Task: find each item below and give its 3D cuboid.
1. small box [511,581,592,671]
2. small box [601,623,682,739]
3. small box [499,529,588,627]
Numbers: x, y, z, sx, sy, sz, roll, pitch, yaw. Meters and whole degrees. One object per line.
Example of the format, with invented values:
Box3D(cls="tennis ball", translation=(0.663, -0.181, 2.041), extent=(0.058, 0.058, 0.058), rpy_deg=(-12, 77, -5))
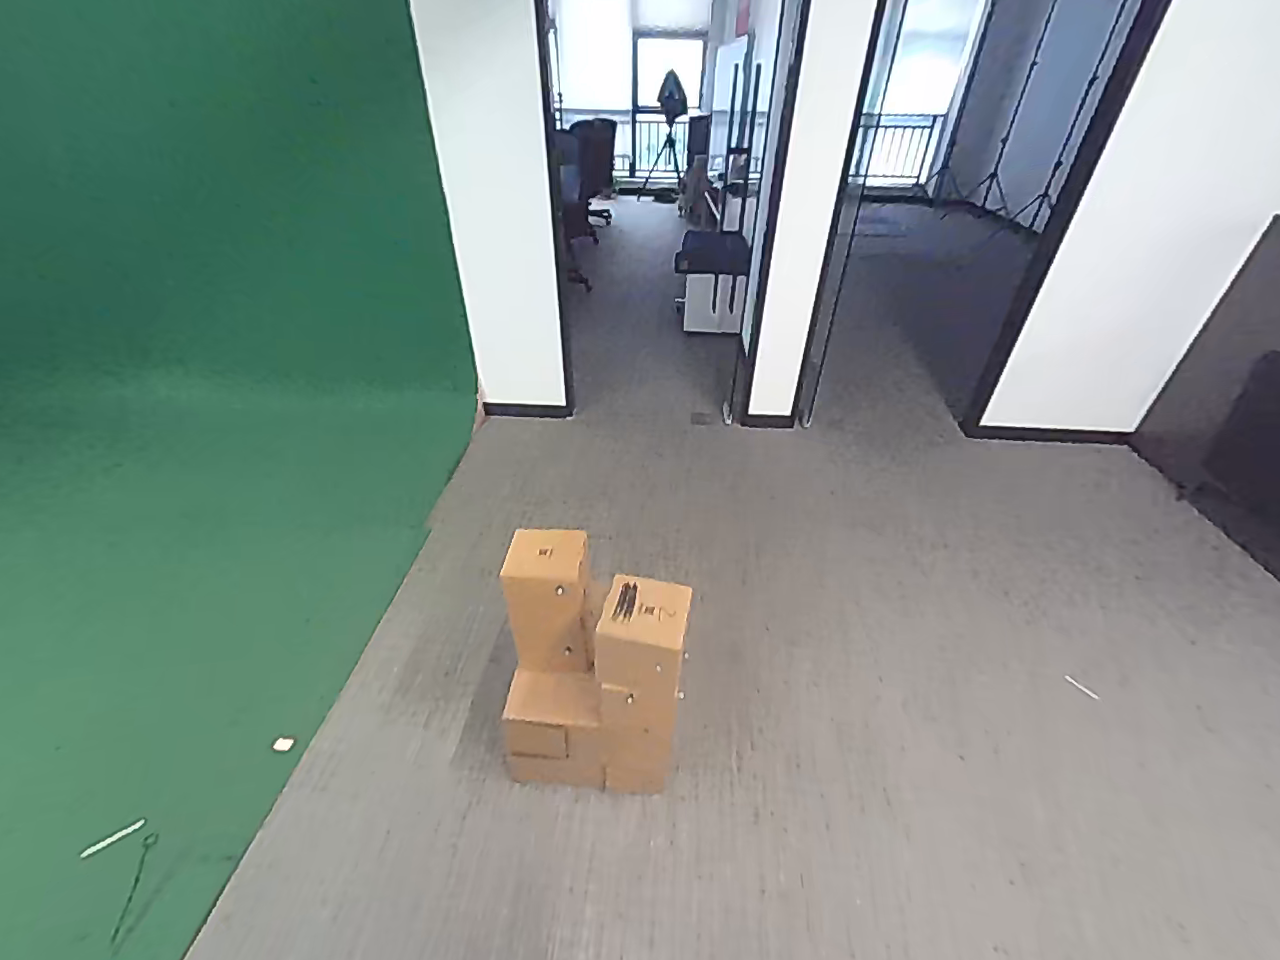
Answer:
Box3D(cls="small box", translation=(-0.219, 0.372, 1.389), extent=(0.179, 0.176, 0.168), rpy_deg=(2, 34, 1))
Box3D(cls="small box", translation=(0.003, 0.466, 1.260), extent=(0.168, 0.176, 0.179), rpy_deg=(6, 35, 6))
Box3D(cls="small box", translation=(-0.222, 0.236, 1.299), extent=(0.179, 0.176, 0.168), rpy_deg=(3, 34, 1))
